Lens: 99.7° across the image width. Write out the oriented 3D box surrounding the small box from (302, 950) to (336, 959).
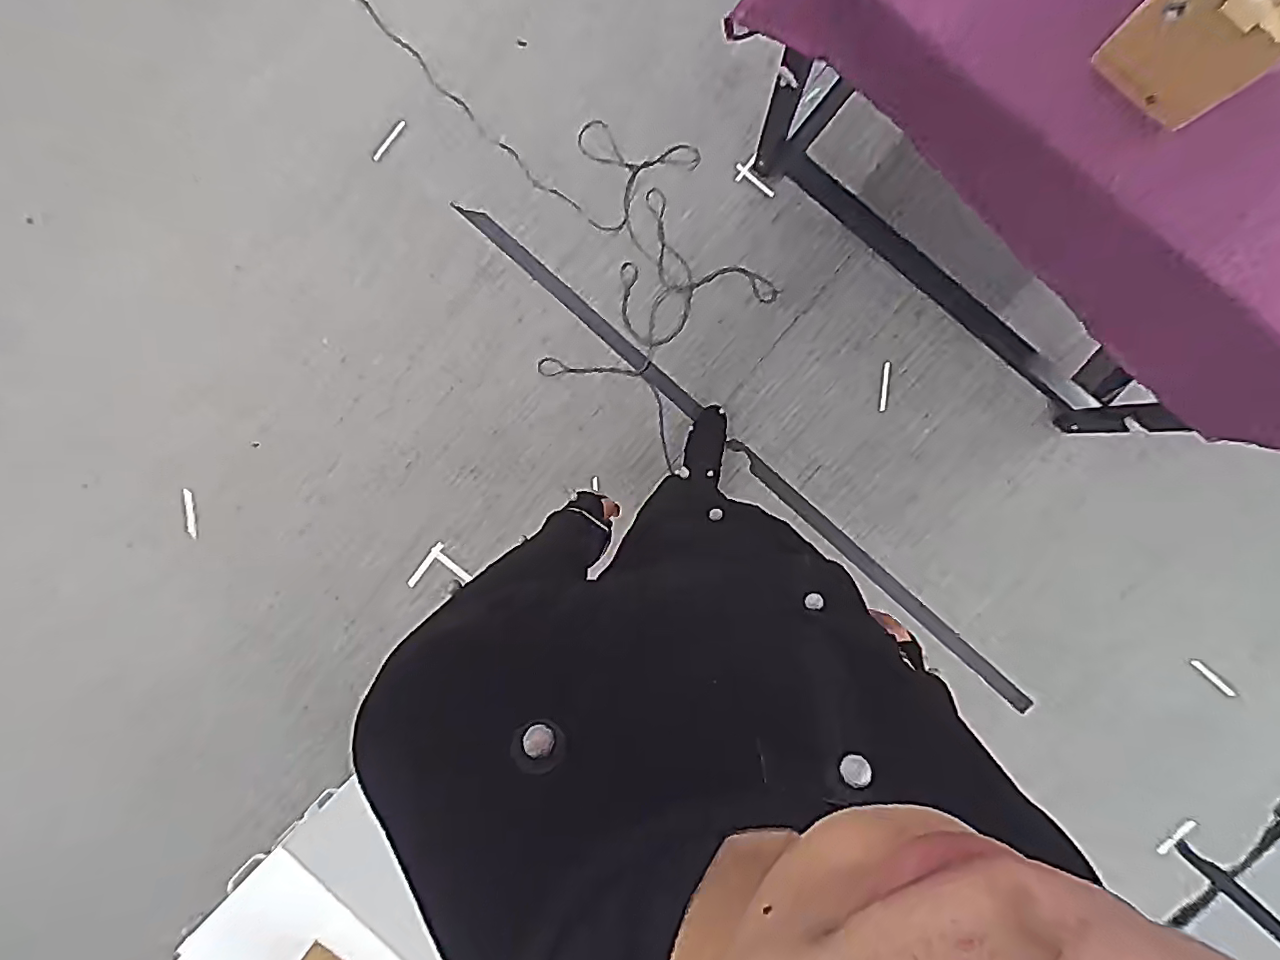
[{"bbox_3d":[-0.676,1.107,1.077,0.179,0.176,0.168,36,95,1],"label":"small box"}]
